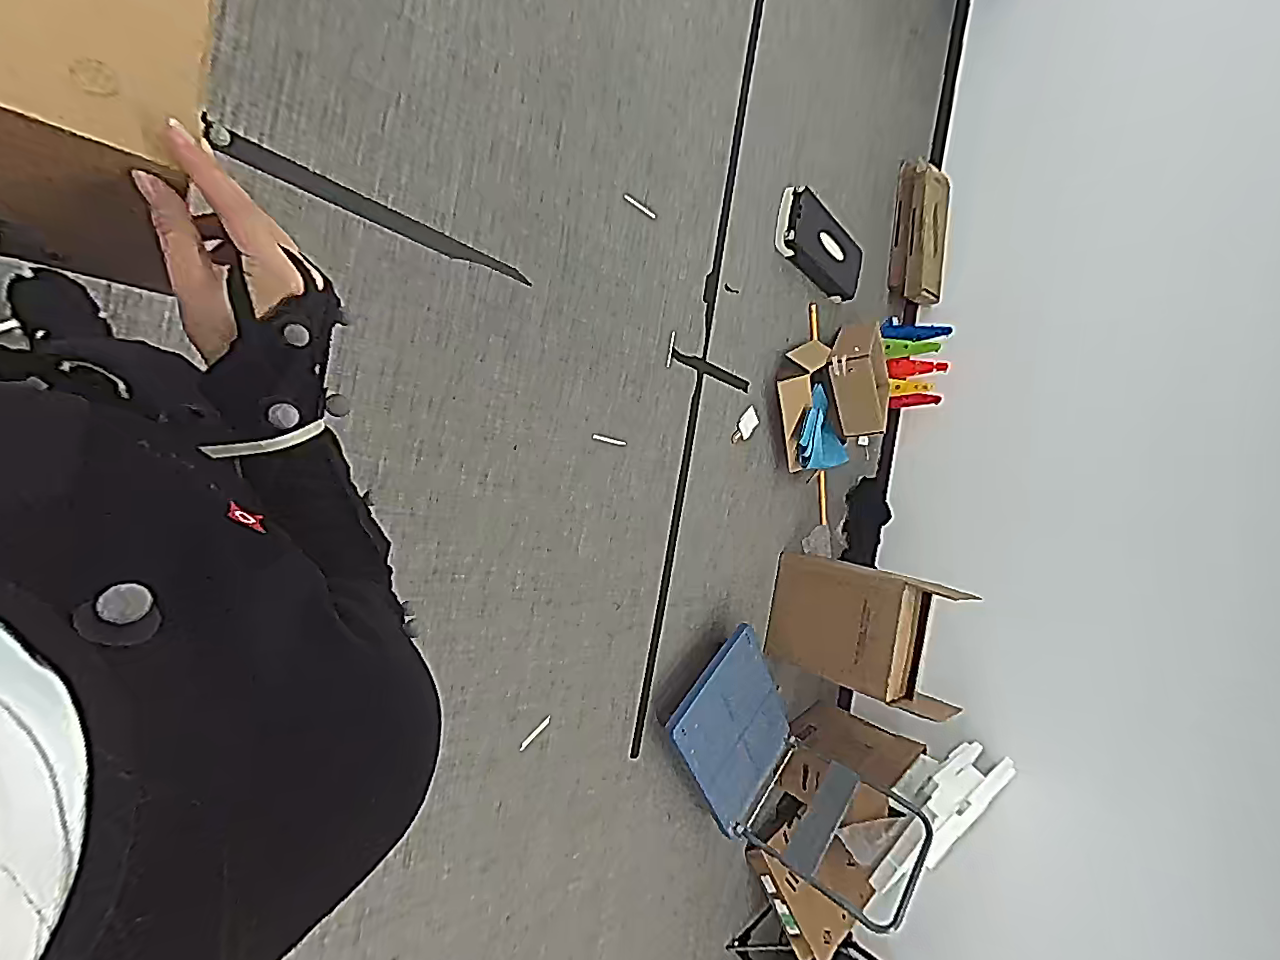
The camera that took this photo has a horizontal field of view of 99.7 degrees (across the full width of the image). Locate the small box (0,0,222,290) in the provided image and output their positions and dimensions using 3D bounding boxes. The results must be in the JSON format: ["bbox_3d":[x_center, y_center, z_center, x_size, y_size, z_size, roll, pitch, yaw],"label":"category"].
[{"bbox_3d":[-0.354,-0.241,0.306,0.168,0.176,0.179,8,77,-42],"label":"small box"}]
